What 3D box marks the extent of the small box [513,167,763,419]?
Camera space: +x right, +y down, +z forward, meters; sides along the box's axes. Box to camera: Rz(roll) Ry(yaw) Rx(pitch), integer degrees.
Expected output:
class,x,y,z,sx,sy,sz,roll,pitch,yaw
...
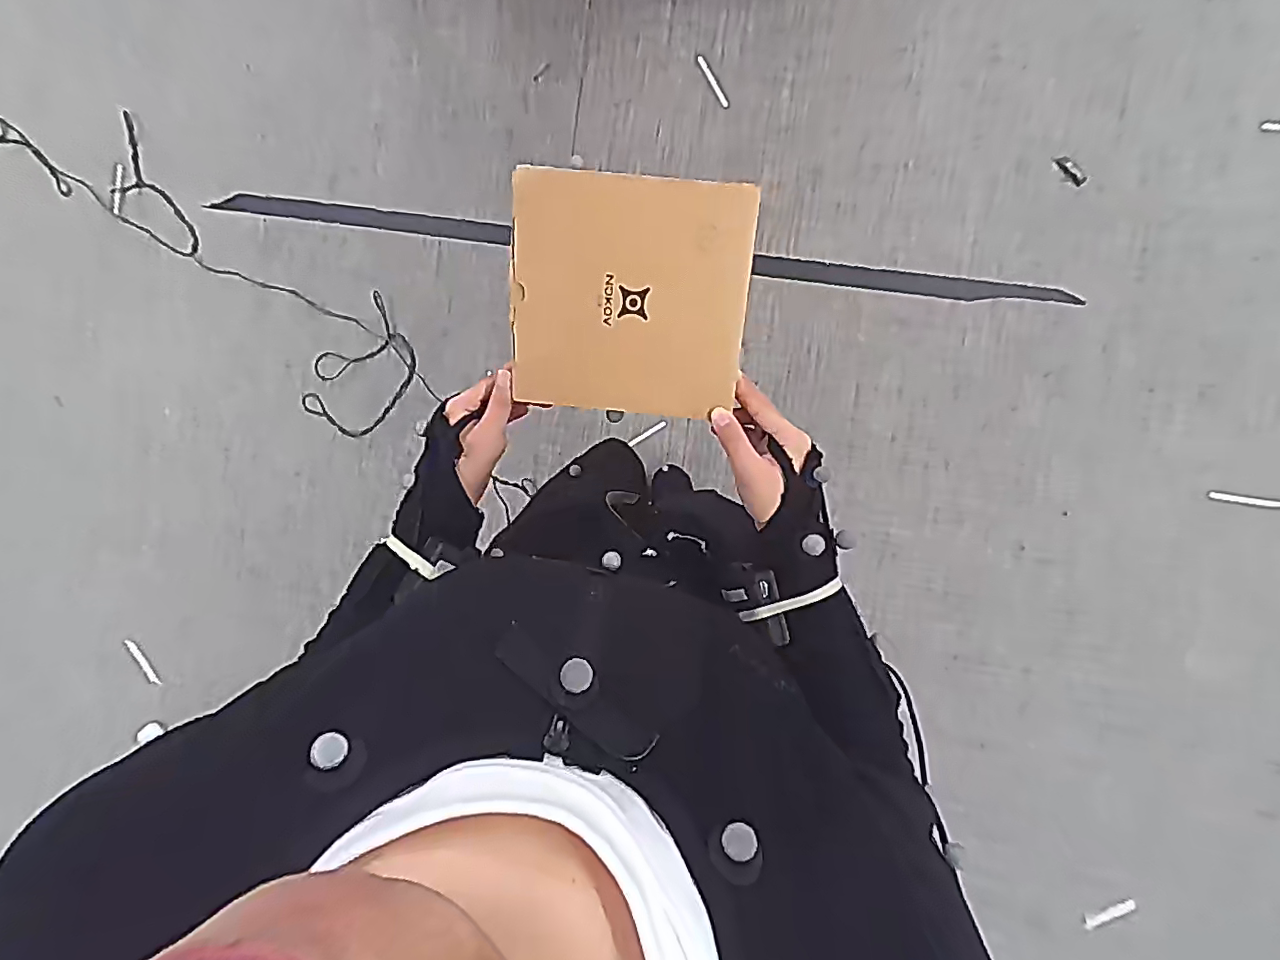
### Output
class,x,y,z,sx,sy,sz,roll,pitch,yaw
small box,-0.001,-0.158,0.475,0.179,0.176,0.168,6,108,4
